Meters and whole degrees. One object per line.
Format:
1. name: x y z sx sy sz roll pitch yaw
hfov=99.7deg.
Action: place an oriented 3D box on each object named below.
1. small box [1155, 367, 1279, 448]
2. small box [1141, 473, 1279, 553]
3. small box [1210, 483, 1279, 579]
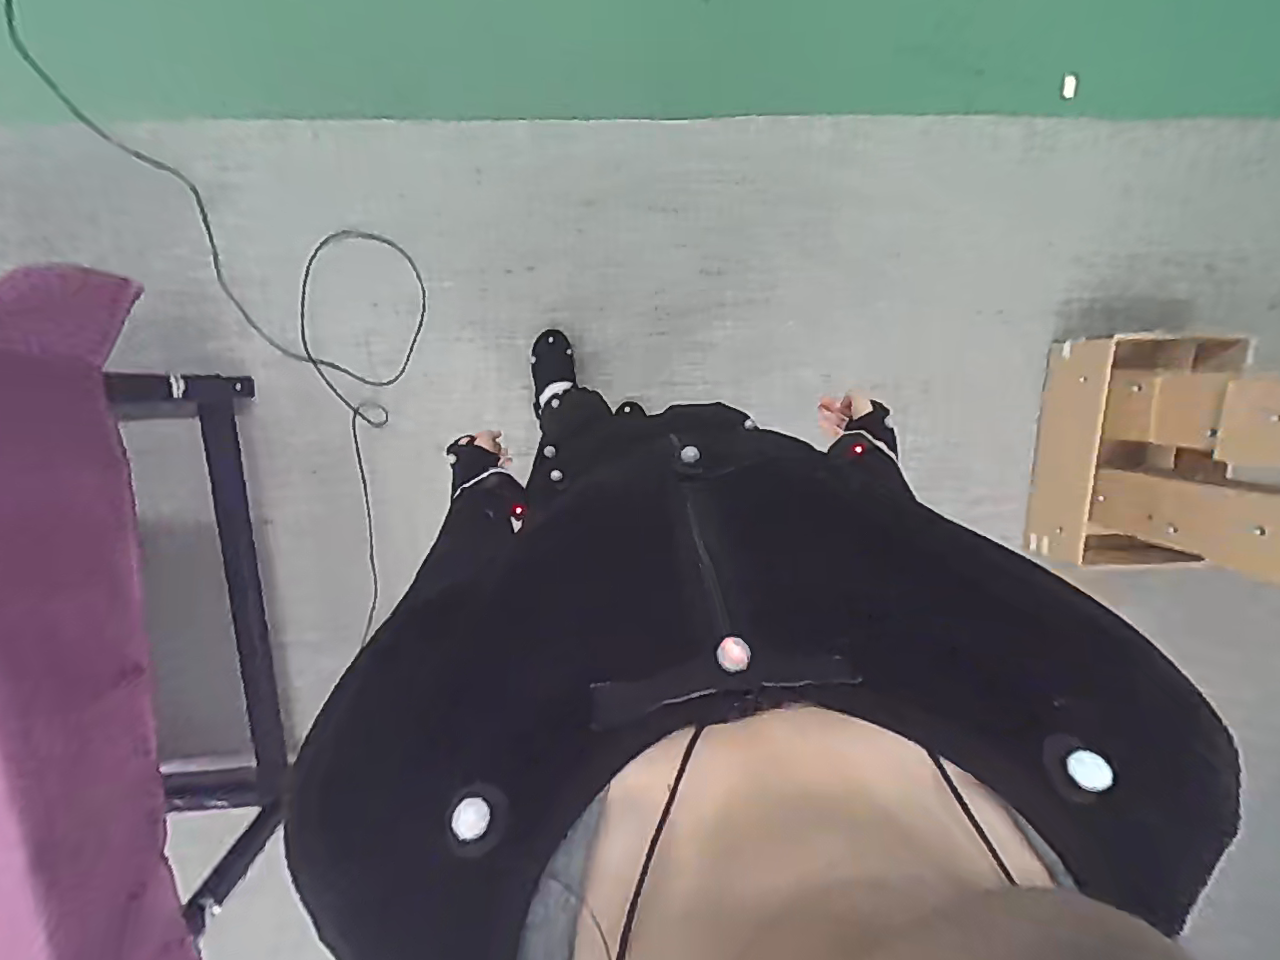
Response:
1. small box: 1.369 -0.173 1.266 0.168 0.176 0.179 -3 101 -3
2. small box: 1.376 0.076 1.307 0.179 0.176 0.168 0 99 -4
3. small box: 1.381 0.108 1.146 0.168 0.176 0.179 0 98 -3
